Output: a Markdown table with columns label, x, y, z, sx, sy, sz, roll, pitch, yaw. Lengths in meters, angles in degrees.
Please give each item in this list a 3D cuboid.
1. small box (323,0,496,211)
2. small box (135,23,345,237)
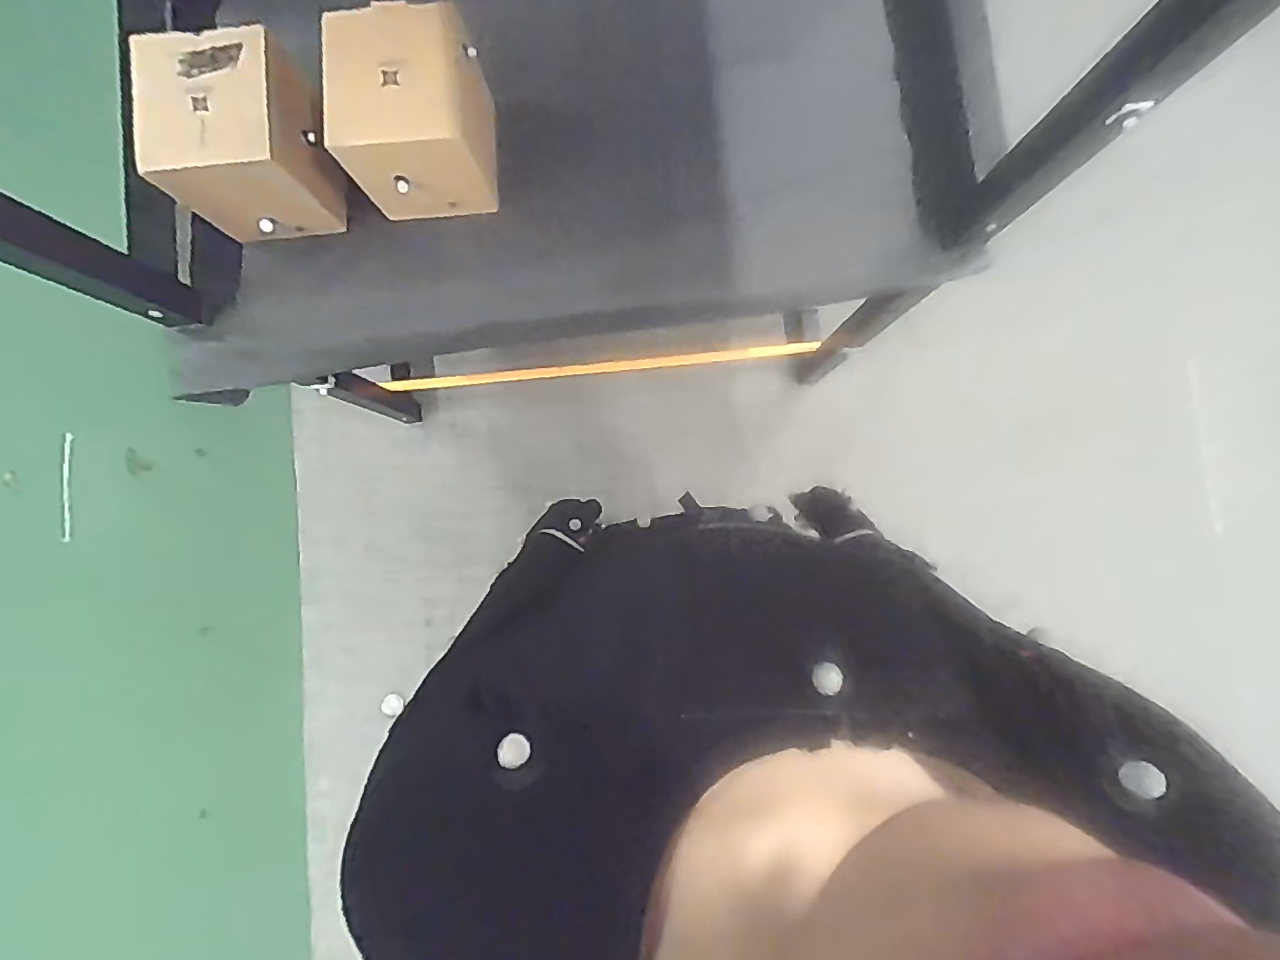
| label | x | y | z | sx | sy | sz | roll | pitch | yaw |
| --- | --- | --- | --- | --- | --- | --- | --- | --- | --- |
| small box | -0.300 | -0.488 | 0.734 | 0.168 | 0.176 | 0.179 | -4 | 85 | 0 |
| small box | -0.525 | -0.460 | 0.732 | 0.168 | 0.176 | 0.179 | -5 | 86 | 0 |
